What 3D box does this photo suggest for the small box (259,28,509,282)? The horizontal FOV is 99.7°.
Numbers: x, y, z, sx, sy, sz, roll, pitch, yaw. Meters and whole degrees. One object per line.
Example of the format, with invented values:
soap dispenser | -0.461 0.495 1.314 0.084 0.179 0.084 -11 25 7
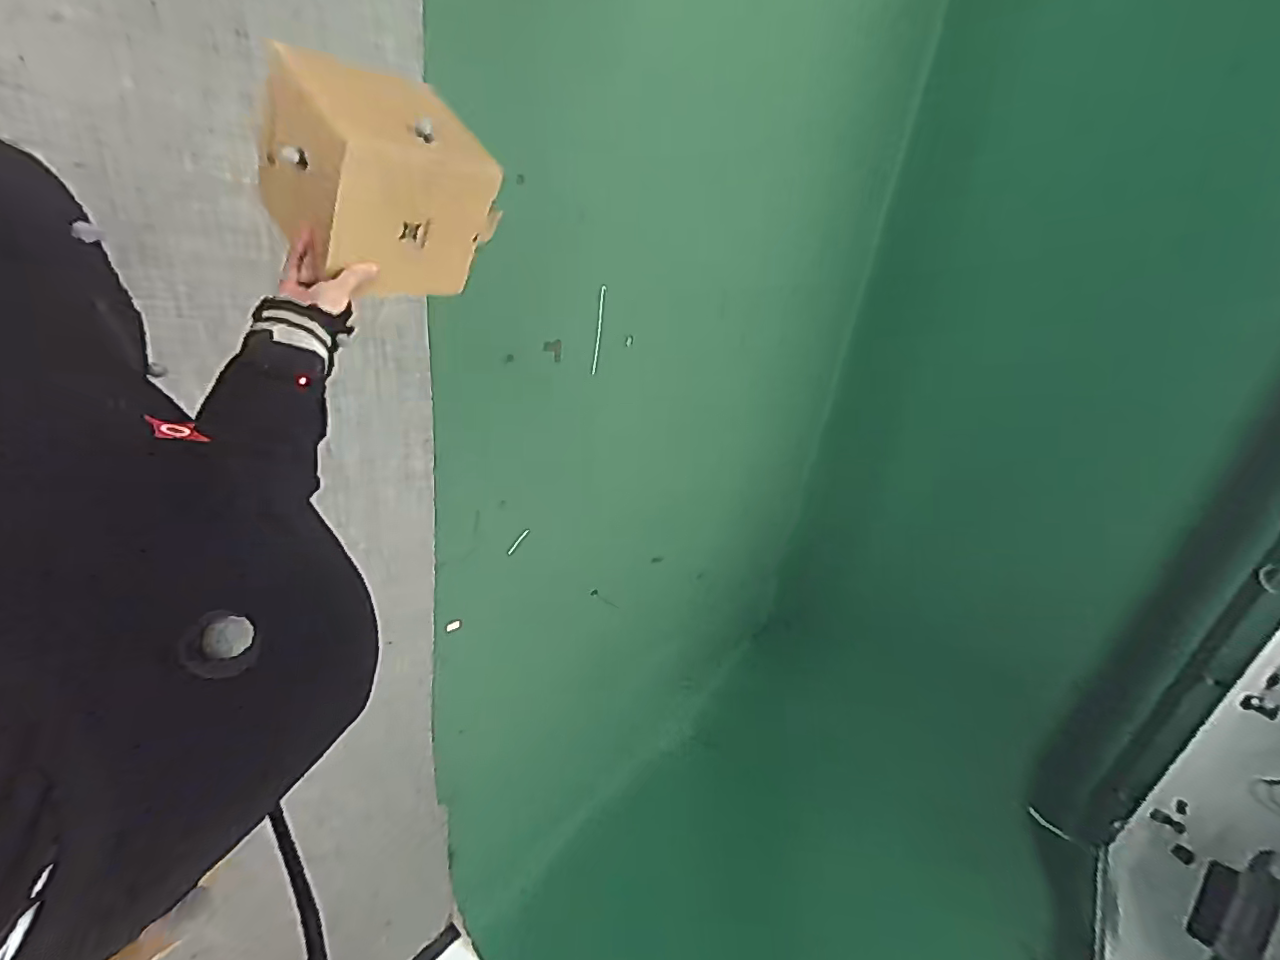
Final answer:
small box | -0.282 -0.338 0.587 0.179 0.176 0.168 -24 161 -48
